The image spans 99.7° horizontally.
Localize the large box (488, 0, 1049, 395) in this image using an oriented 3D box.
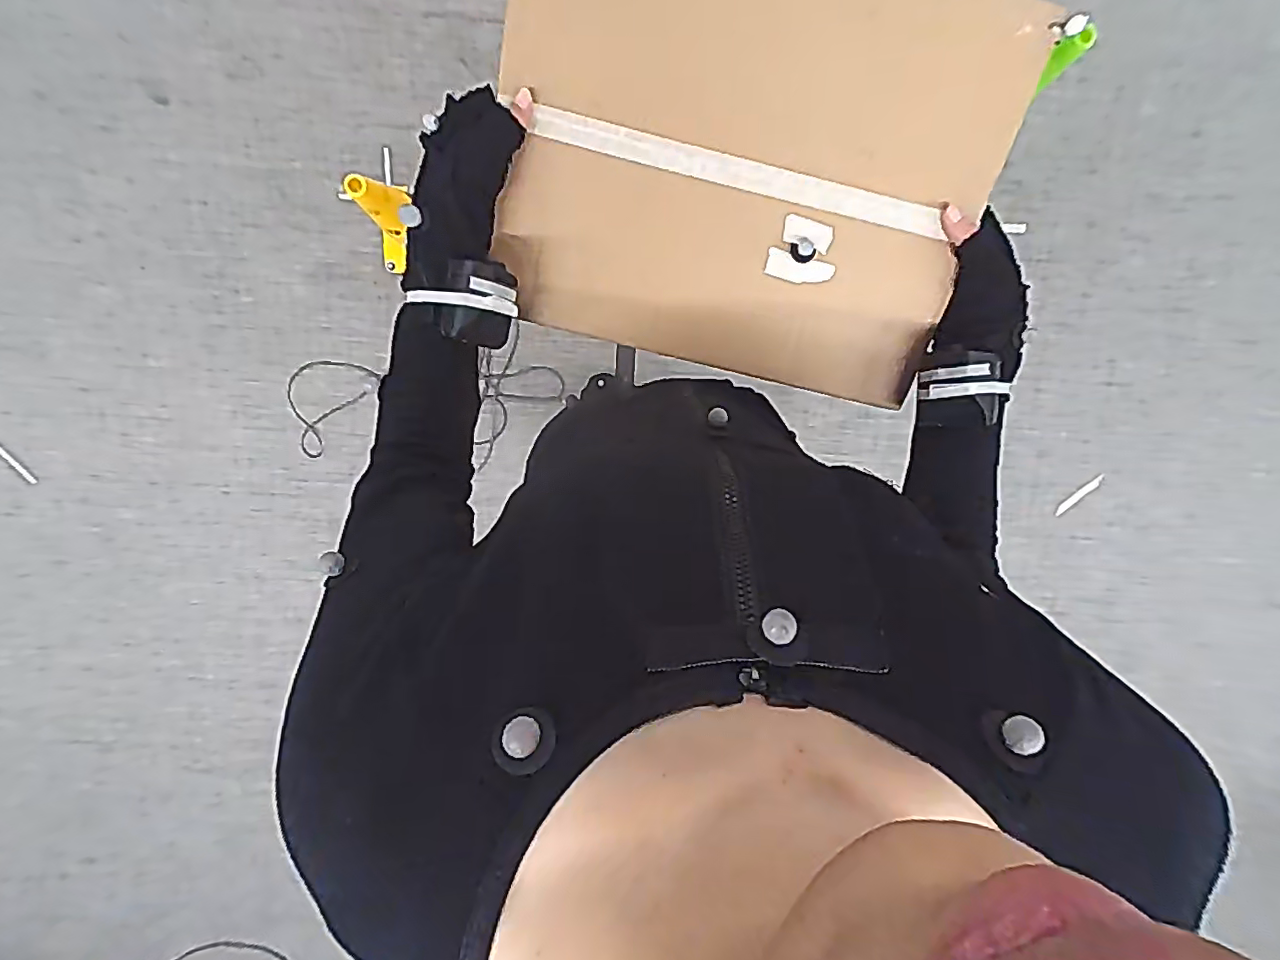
[{"bbox_3d":[0.086,-0.310,0.586,0.408,0.320,0.320,12,112,-4],"label":"large box"}]
